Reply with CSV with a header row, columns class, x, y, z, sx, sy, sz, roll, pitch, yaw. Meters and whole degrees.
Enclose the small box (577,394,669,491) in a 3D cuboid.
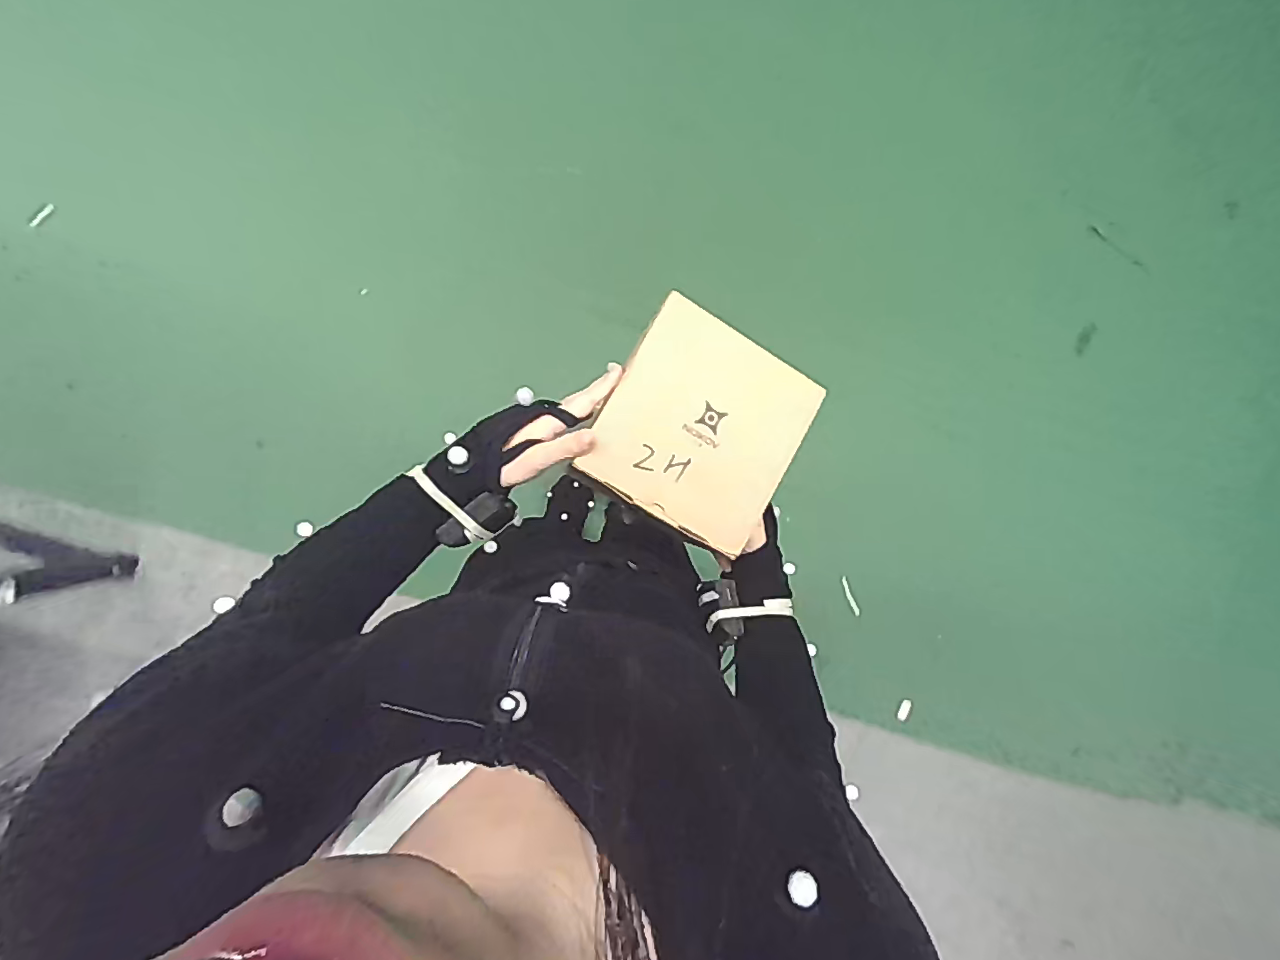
class,x,y,z,sx,sy,sz,roll,pitch,yaw
small box,-0.046,-0.082,1.256,0.168,0.176,0.179,17,89,-5
